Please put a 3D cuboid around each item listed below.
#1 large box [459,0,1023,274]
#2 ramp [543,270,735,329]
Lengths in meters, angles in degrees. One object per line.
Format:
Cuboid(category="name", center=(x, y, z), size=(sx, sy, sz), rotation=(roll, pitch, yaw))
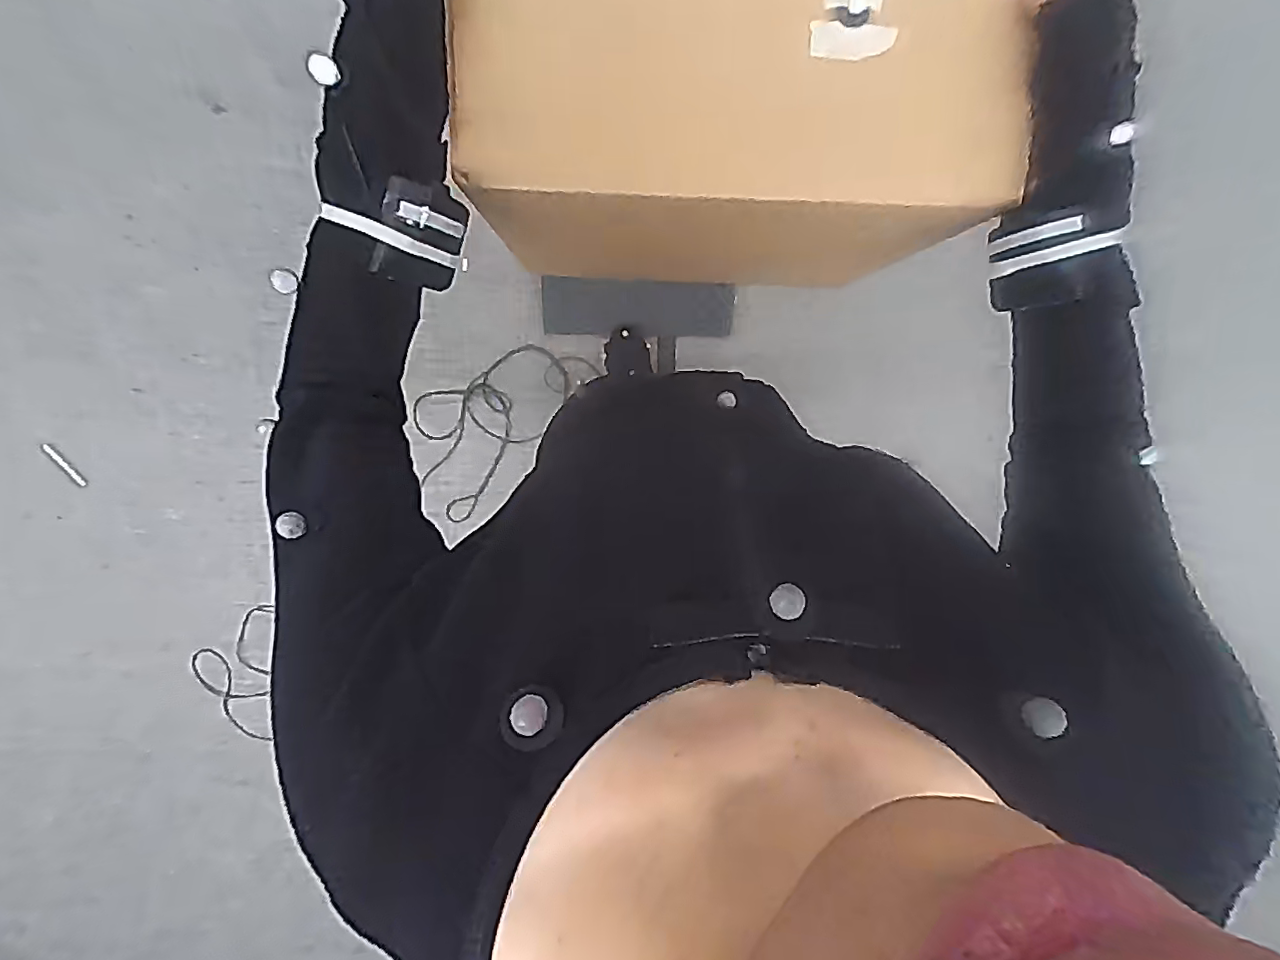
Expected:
Cuboid(category="large box", center=(0.065, -0.391, 0.517), size=(0.408, 0.320, 0.320), rotation=(1, 100, -3))
Cuboid(category="ramp", center=(0.002, -0.868, 1.259), size=(0.509, 0.206, 0.991), rotation=(-2, 99, -2))
